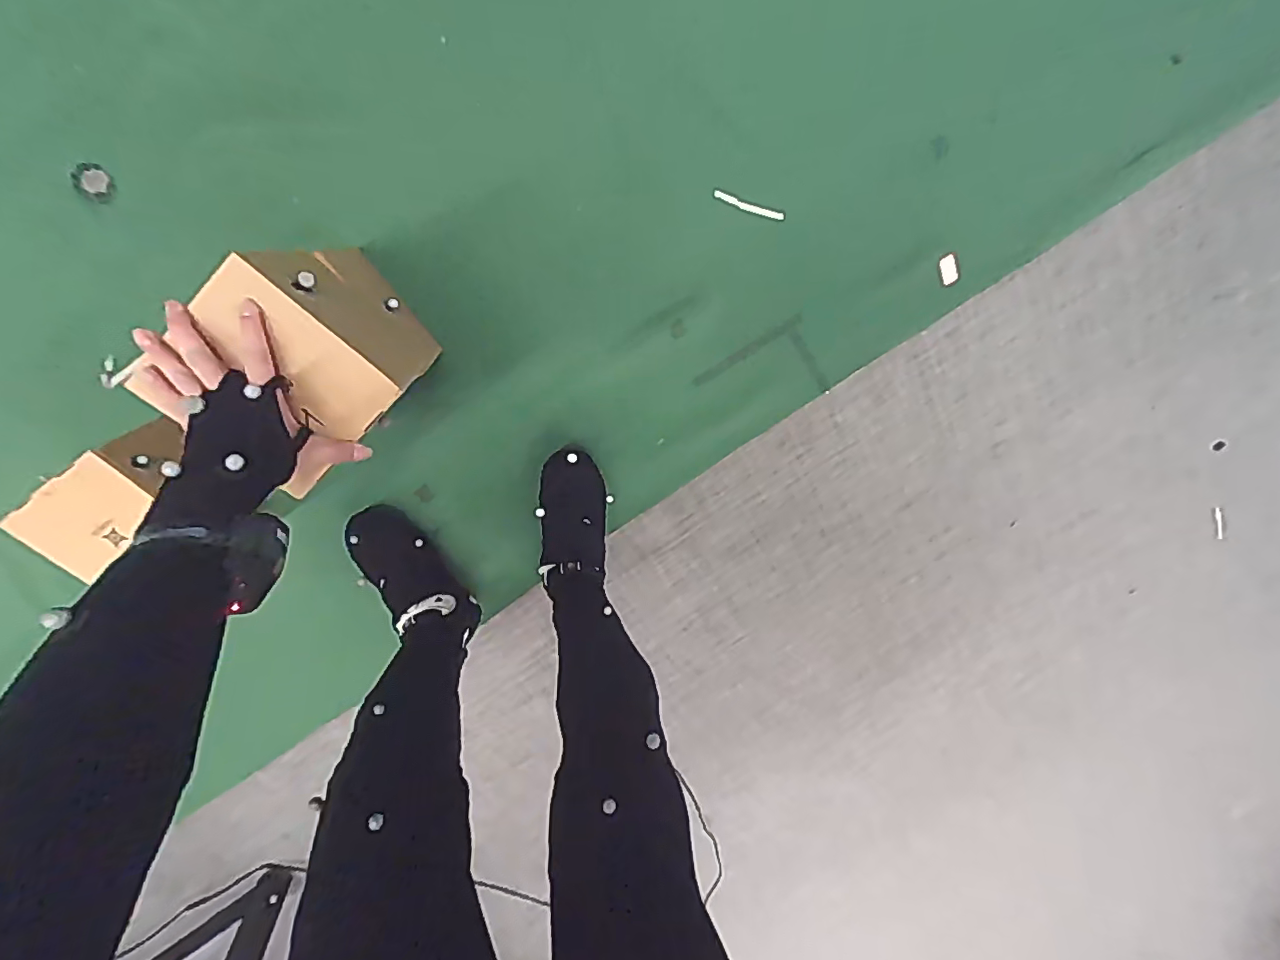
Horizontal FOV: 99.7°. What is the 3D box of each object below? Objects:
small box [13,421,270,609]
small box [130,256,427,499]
[{"bbox_3d":[-0.692,0.043,0.780,0.168,0.176,0.179,-35,114,7],"label":"small box"},{"bbox_3d":[-0.365,-0.117,0.586,0.168,0.176,0.179,-43,114,10],"label":"small box"}]
